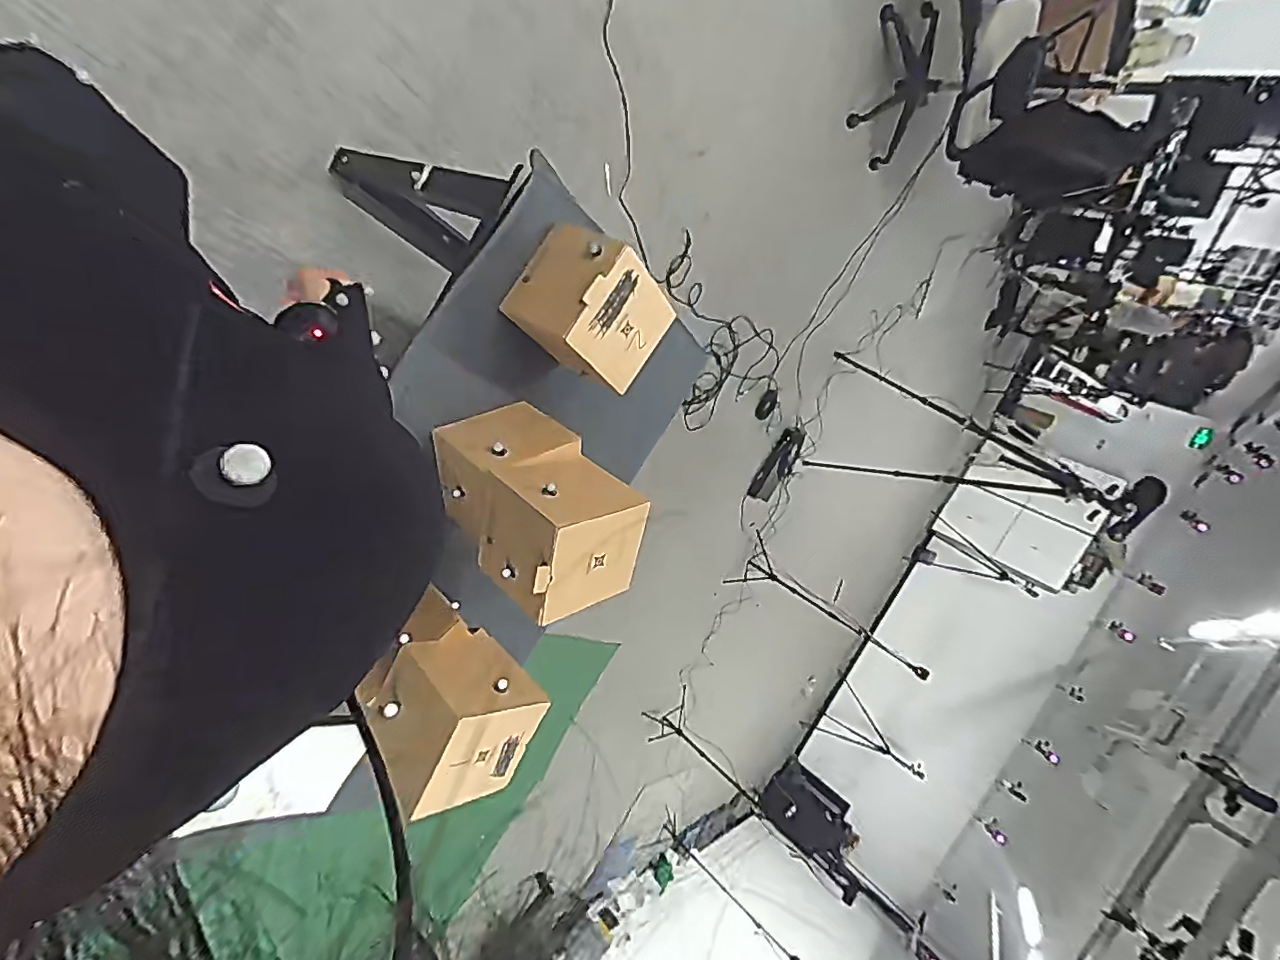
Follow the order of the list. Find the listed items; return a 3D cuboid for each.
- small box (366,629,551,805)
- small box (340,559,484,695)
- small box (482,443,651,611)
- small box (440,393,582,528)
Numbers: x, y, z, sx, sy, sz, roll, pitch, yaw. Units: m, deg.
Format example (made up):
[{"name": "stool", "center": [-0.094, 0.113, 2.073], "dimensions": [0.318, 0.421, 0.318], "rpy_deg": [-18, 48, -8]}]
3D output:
[{"name": "small box", "center": [-0.277, 0.343, 0.826], "dimensions": [0.179, 0.176, 0.168], "rpy_deg": [18, 101, -55]}, {"name": "small box", "center": [-0.383, 0.273, 0.931], "dimensions": [0.179, 0.176, 0.168], "rpy_deg": [-43, 143, -22]}, {"name": "small box", "center": [-0.115, 0.058, 0.806], "dimensions": [0.179, 0.176, 0.168], "rpy_deg": [-16, 129, -45]}, {"name": "small box", "center": [-0.216, -0.026, 0.903], "dimensions": [0.179, 0.176, 0.168], "rpy_deg": [-27, 136, -37]}]
